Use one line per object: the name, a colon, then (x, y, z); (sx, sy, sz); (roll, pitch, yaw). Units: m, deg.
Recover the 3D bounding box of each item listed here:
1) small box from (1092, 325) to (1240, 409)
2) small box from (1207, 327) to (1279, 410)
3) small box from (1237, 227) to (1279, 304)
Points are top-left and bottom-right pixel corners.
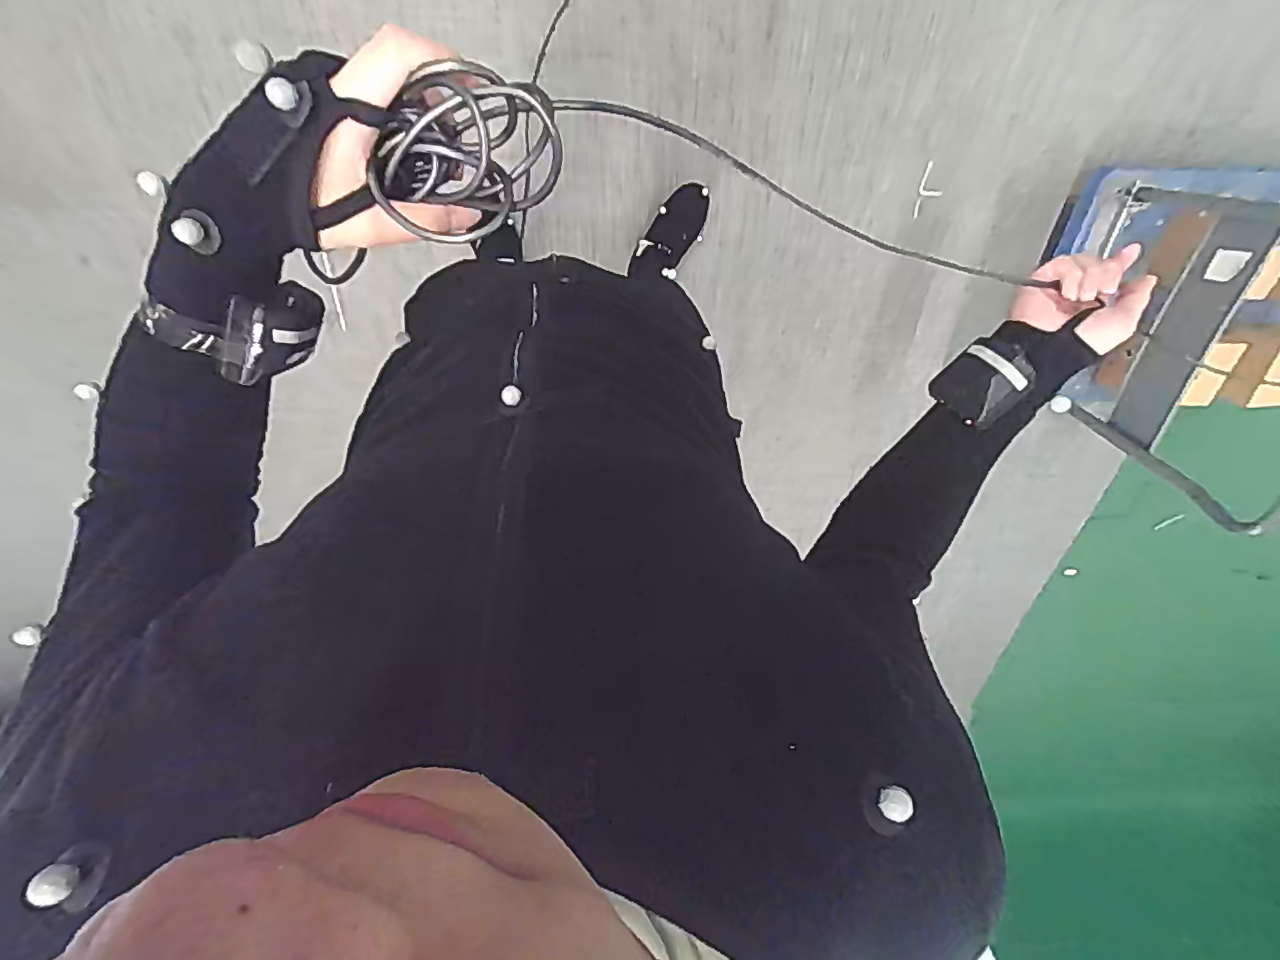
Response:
small box: (1.340, -0.294, 1.394); (0.179, 0.176, 0.168); (1, 123, -3)
small box: (1.610, -0.293, 1.409); (0.179, 0.176, 0.168); (-3, 122, 0)
small box: (1.599, -0.504, 1.272); (0.179, 0.176, 0.168); (-3, 124, -1)
